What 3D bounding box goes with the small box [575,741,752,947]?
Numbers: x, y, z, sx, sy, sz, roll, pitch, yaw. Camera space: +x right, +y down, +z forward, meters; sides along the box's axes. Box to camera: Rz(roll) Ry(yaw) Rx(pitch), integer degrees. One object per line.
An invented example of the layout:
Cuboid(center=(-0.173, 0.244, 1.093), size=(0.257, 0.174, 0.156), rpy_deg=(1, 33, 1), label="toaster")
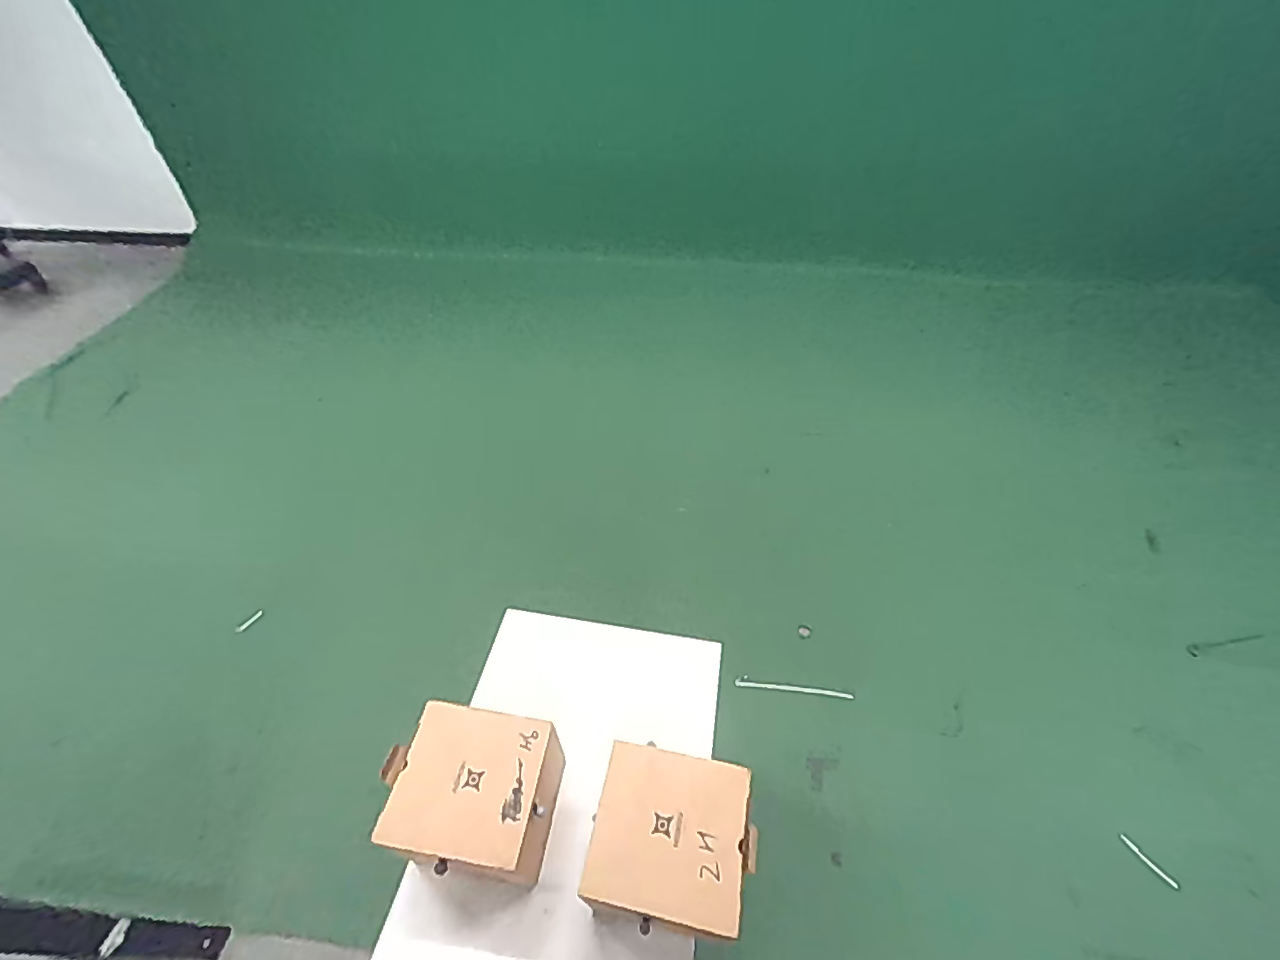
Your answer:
Cuboid(center=(0.035, 0.451, 0.669), size=(0.179, 0.176, 0.168), rpy_deg=(8, 49, 10), label="small box")
